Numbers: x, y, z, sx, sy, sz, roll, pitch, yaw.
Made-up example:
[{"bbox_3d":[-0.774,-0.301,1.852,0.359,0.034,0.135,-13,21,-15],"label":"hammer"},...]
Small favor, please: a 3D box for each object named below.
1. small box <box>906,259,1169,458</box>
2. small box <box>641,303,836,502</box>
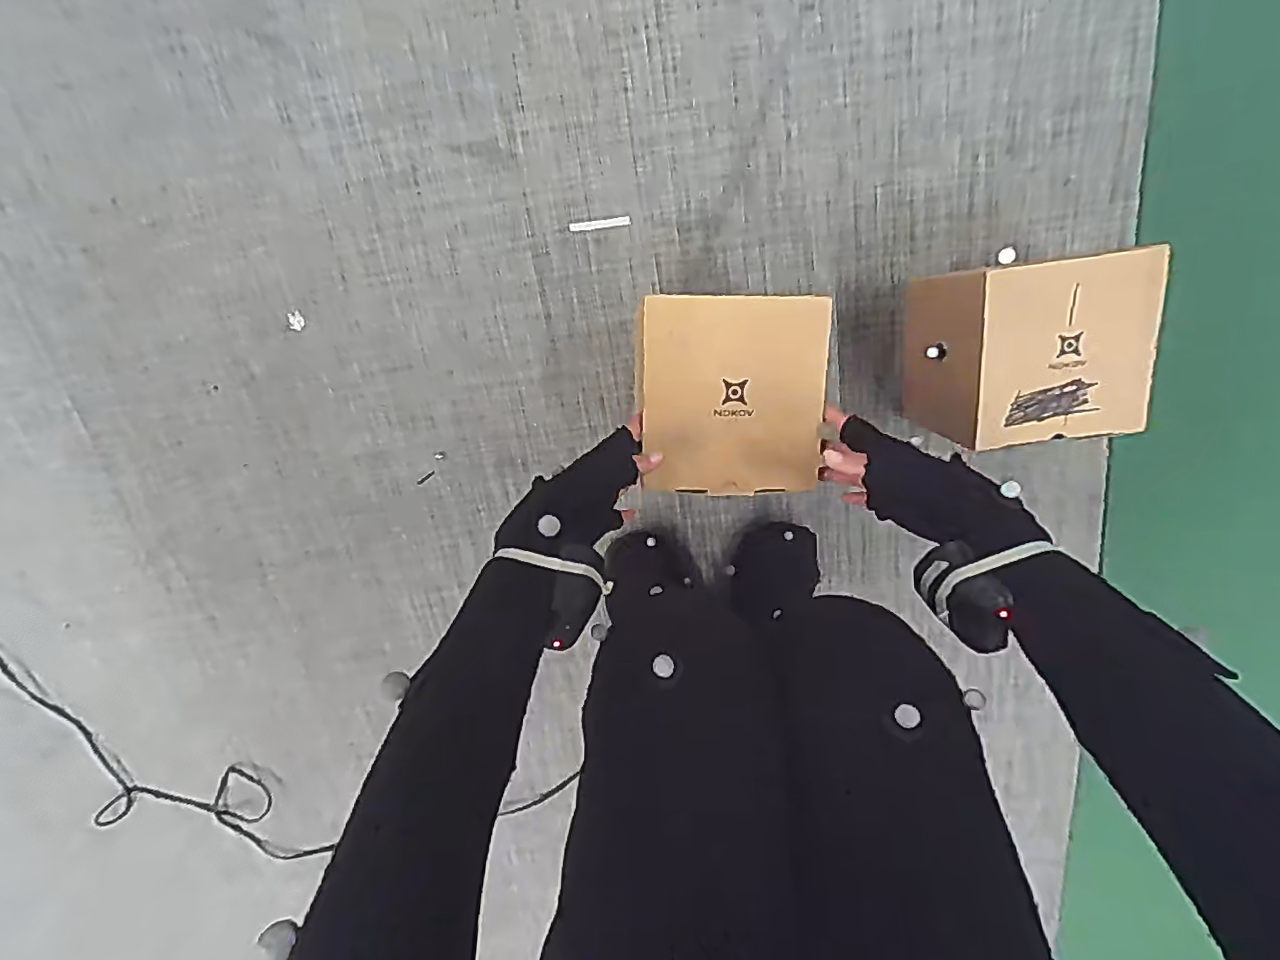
[{"bbox_3d":[0.412,-0.136,0.597,0.168,0.176,0.179,-7,106,3],"label":"small box"},{"bbox_3d":[0.085,-0.081,0.557,0.168,0.176,0.179,0,102,-1],"label":"small box"}]
